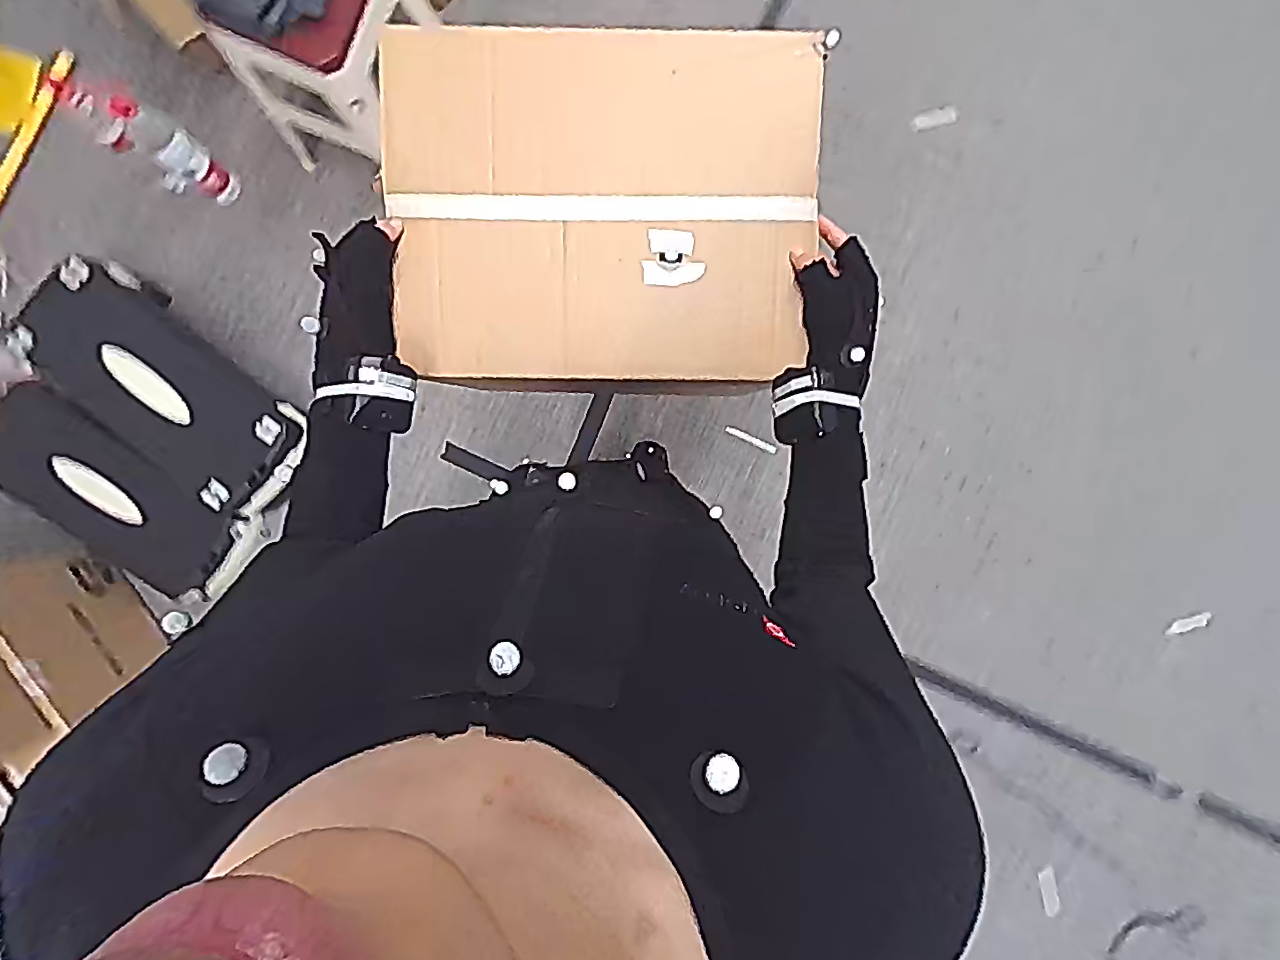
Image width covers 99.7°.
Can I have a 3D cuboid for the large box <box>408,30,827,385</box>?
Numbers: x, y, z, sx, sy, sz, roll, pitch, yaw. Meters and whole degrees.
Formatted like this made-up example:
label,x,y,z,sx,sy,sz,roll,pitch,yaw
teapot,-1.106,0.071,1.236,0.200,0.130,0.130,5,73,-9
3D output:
label,x,y,z,sx,sy,sz,roll,pitch,yaw
large box,-0.026,-0.284,0.674,0.408,0.320,0.320,2,98,-1
